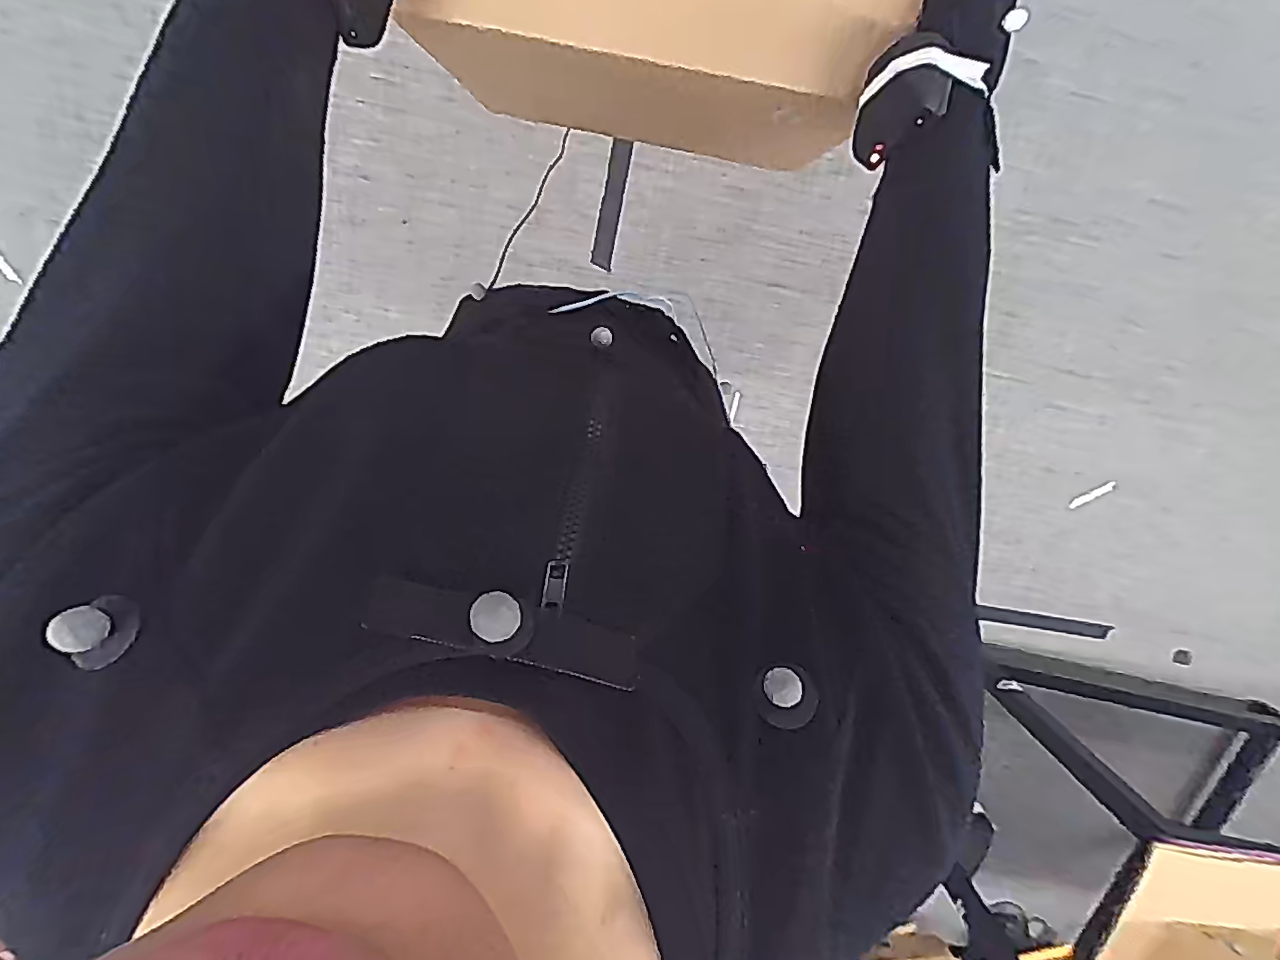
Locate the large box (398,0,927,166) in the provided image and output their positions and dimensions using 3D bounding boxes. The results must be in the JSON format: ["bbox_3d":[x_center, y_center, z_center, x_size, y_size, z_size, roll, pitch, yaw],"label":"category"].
[{"bbox_3d":[0.034,-0.521,0.500,0.408,0.320,0.320,10,112,-3],"label":"large box"}]
